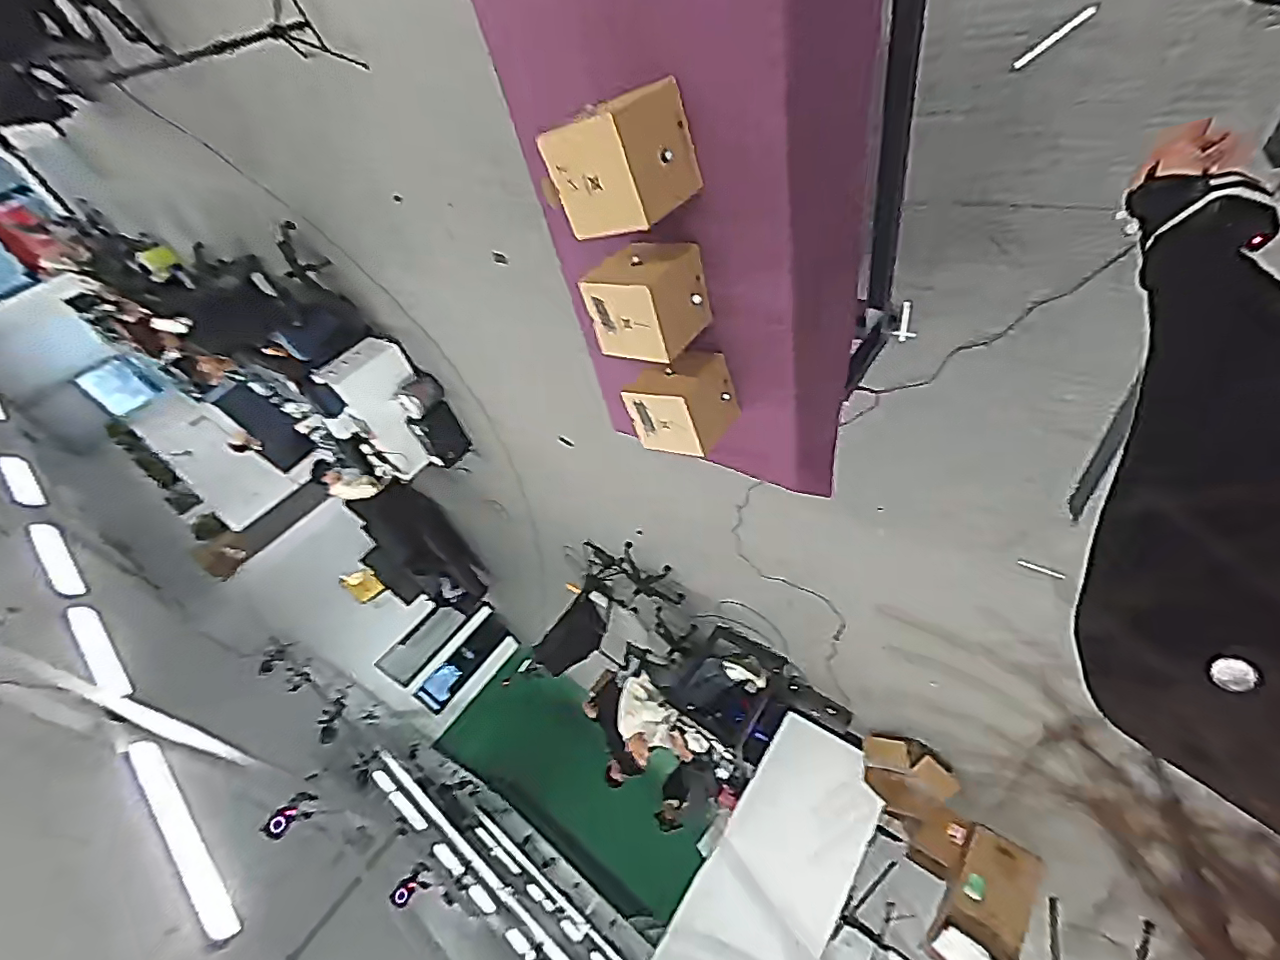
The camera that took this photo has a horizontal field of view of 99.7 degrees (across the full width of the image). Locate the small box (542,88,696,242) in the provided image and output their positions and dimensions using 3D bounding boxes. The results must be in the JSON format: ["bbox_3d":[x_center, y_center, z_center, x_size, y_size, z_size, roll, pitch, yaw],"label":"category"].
[{"bbox_3d":[-0.024,-0.526,0.910,0.179,0.176,0.168,15,142,41],"label":"small box"}]

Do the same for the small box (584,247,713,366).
[{"bbox_3d":[0.022,-0.355,1.093,0.179,0.176,0.168,18,144,36],"label":"small box"}]
